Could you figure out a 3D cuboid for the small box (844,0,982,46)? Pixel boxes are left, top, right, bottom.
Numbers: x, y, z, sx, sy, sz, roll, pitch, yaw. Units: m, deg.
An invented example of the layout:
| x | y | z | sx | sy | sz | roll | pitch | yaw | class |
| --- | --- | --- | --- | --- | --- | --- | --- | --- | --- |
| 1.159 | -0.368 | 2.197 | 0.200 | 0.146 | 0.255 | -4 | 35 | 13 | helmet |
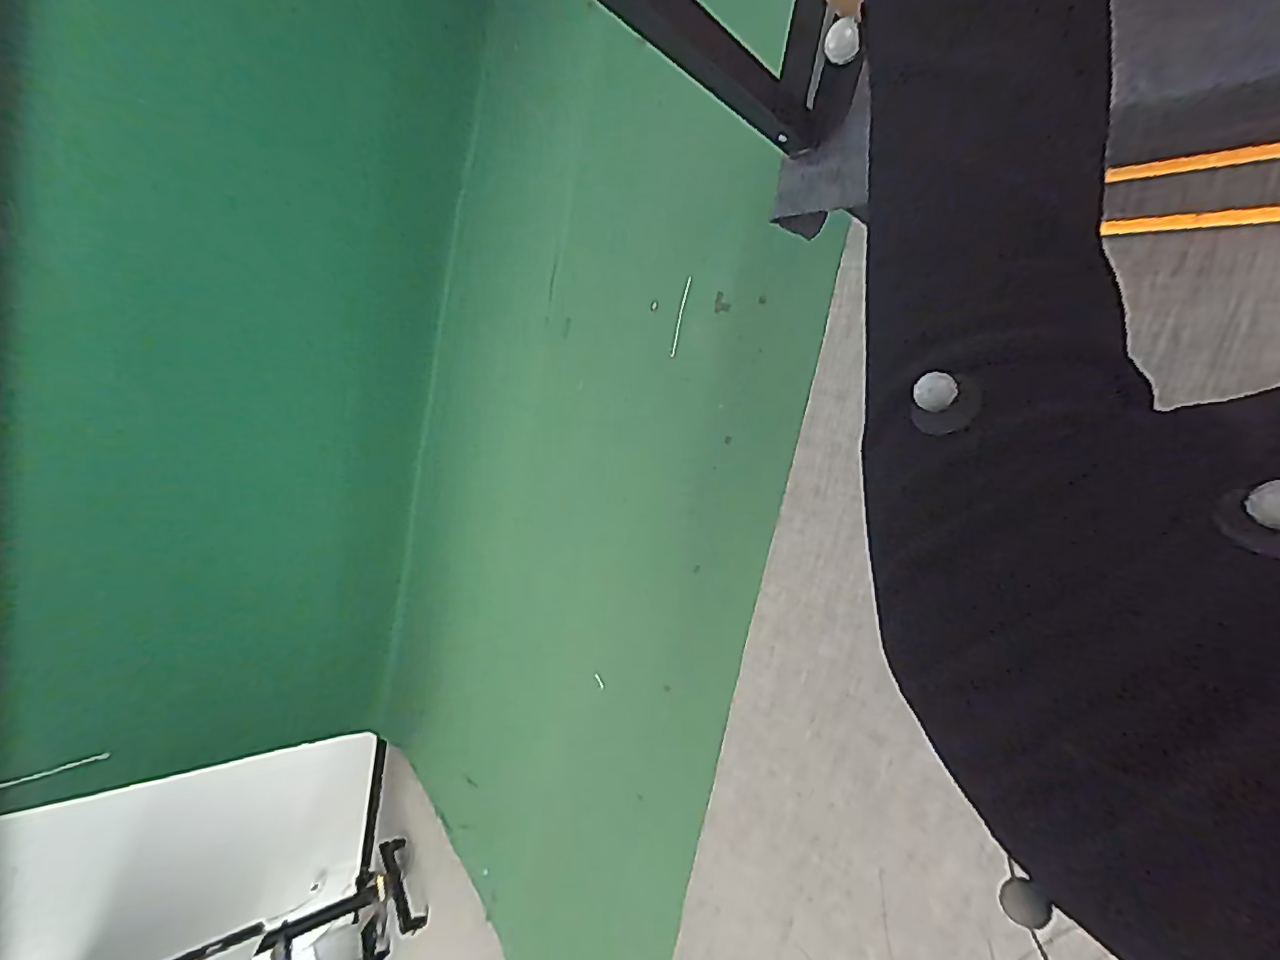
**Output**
| x | y | z | sx | sy | sz | roll | pitch | yaw | class |
| --- | --- | --- | --- | --- | --- | --- | --- | --- | --- |
| 0.370 | -0.749 | 0.727 | 0.168 | 0.176 | 0.179 | 16 | 99 | 48 | small box |
